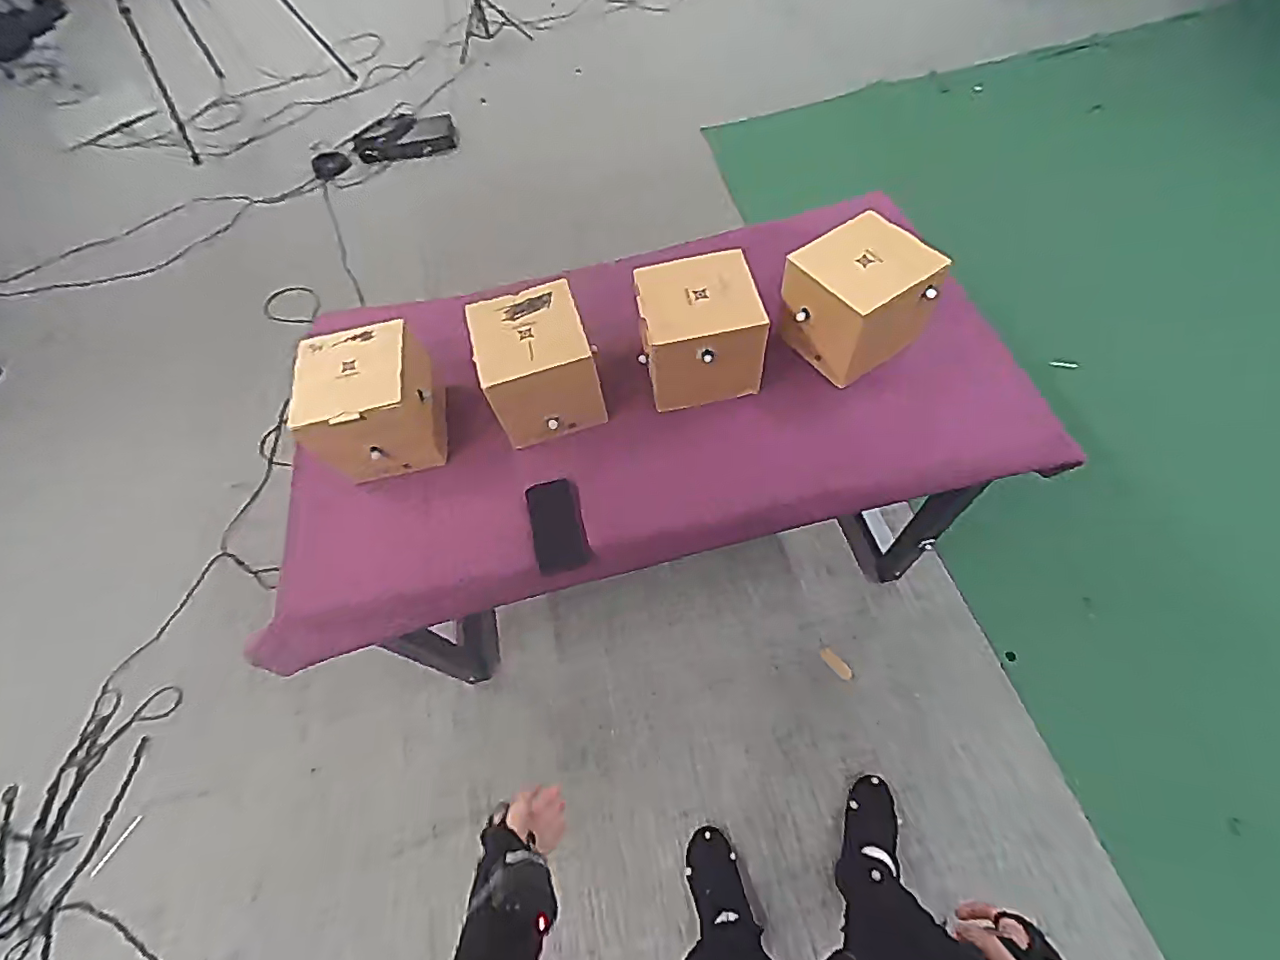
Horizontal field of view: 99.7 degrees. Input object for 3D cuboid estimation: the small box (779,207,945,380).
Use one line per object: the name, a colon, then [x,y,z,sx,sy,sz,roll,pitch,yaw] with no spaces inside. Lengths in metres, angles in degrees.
small box: [0.343,-0.296,0.877,0.179,0.176,0.168,-32,62,-11]

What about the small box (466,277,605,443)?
small box: [-0.164,-0.189,0.877,0.168,0.176,0.179,-17,61,-3]

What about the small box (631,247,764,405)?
small box: [0.090,-0.242,0.878,0.179,0.176,0.168,-11,61,1]

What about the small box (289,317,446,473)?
small box: [-0.425,-0.126,0.872,0.168,0.176,0.179,-13,61,-1]
